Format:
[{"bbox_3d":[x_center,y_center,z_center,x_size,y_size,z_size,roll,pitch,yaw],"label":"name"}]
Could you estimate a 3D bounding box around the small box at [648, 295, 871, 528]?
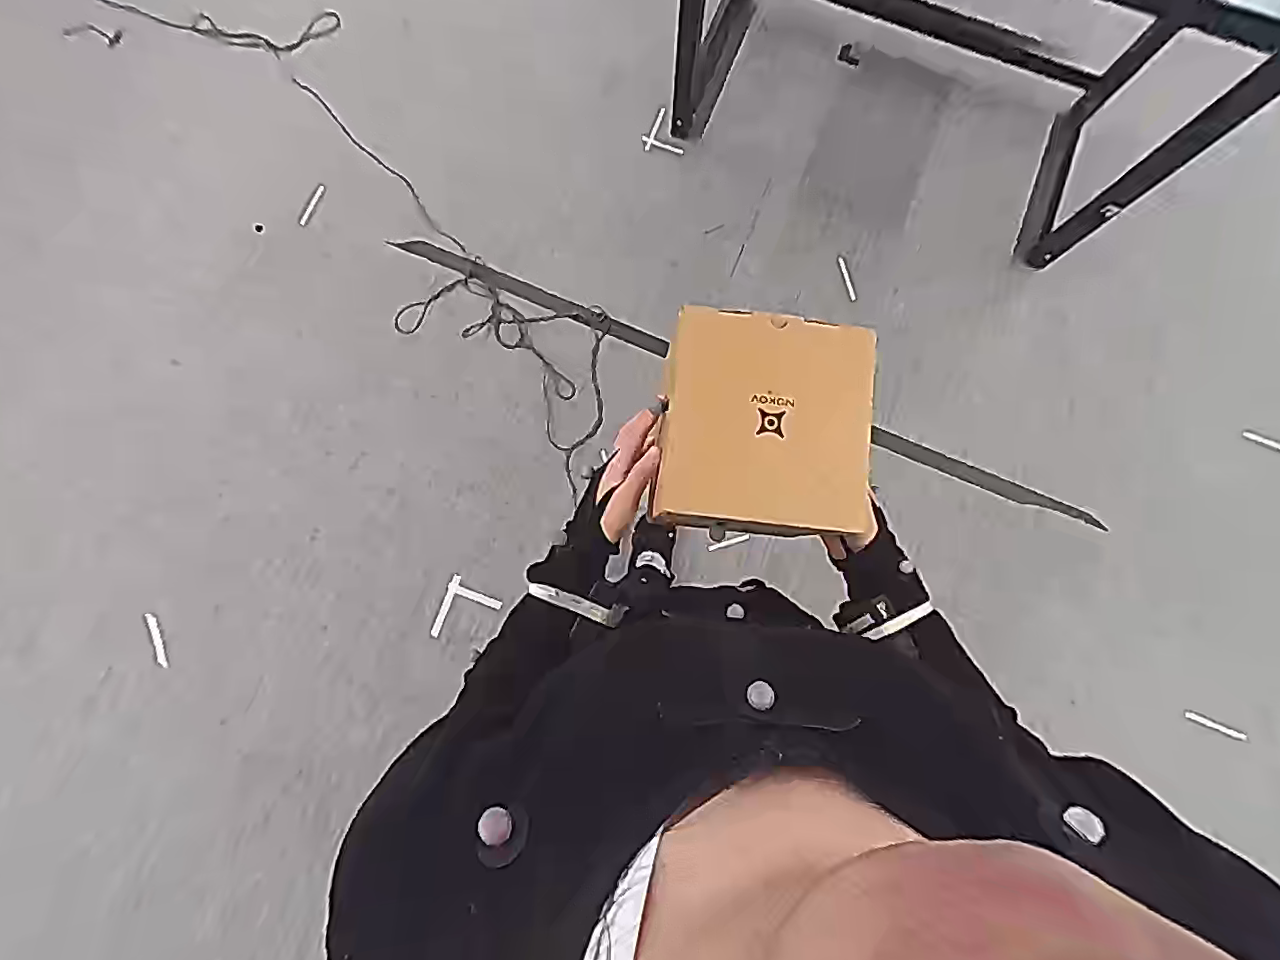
[{"bbox_3d":[0.099,-0.049,0.515,0.168,0.176,0.179,6,81,-2],"label":"small box"}]
